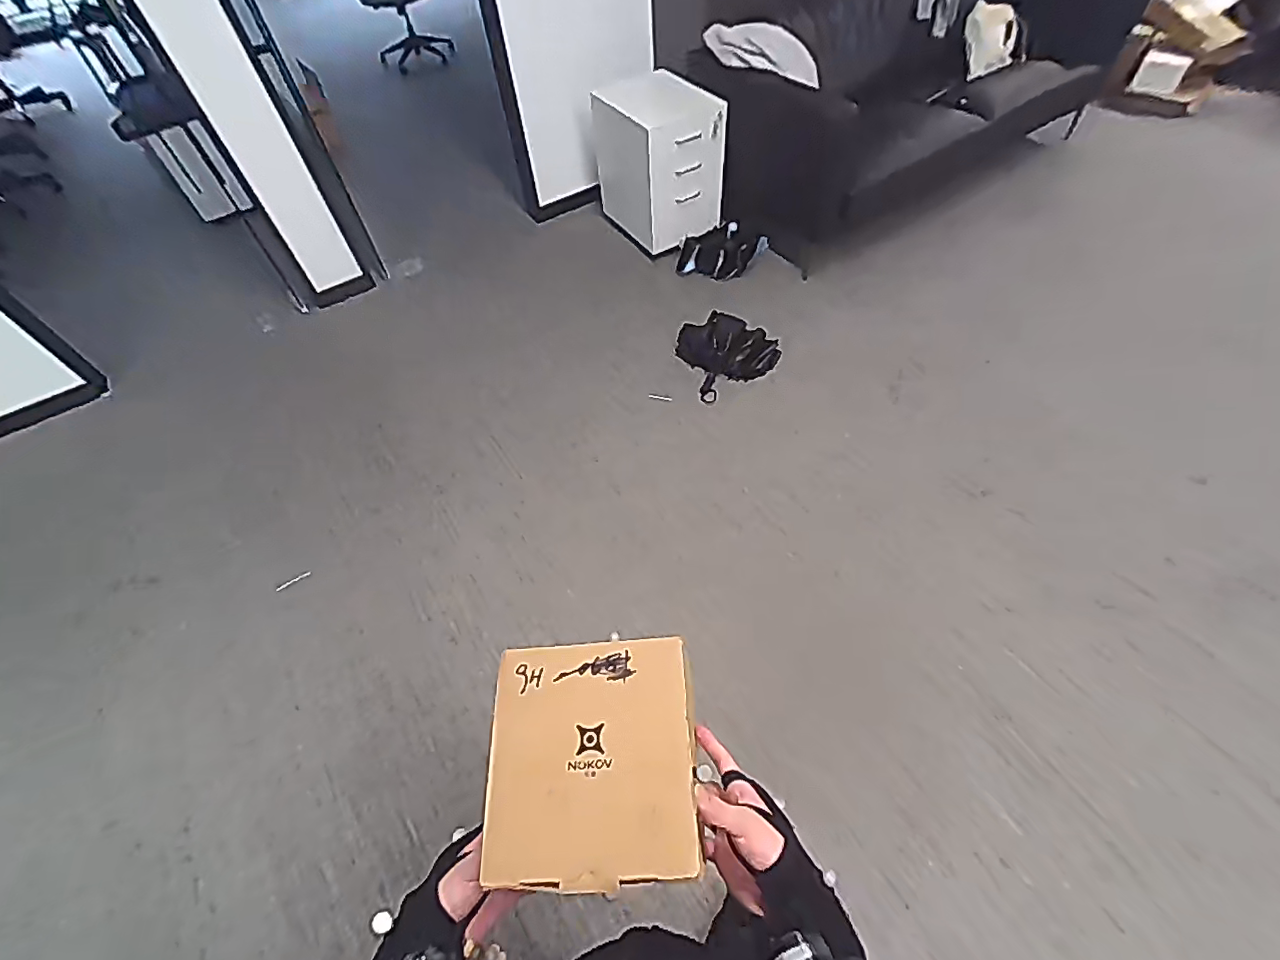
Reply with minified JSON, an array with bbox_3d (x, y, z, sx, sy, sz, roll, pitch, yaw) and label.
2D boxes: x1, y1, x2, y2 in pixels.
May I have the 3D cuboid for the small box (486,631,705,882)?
[{"bbox_3d":[-0.028,0.252,0.502,0.168,0.176,0.179,-5,59,3],"label":"small box"}]
